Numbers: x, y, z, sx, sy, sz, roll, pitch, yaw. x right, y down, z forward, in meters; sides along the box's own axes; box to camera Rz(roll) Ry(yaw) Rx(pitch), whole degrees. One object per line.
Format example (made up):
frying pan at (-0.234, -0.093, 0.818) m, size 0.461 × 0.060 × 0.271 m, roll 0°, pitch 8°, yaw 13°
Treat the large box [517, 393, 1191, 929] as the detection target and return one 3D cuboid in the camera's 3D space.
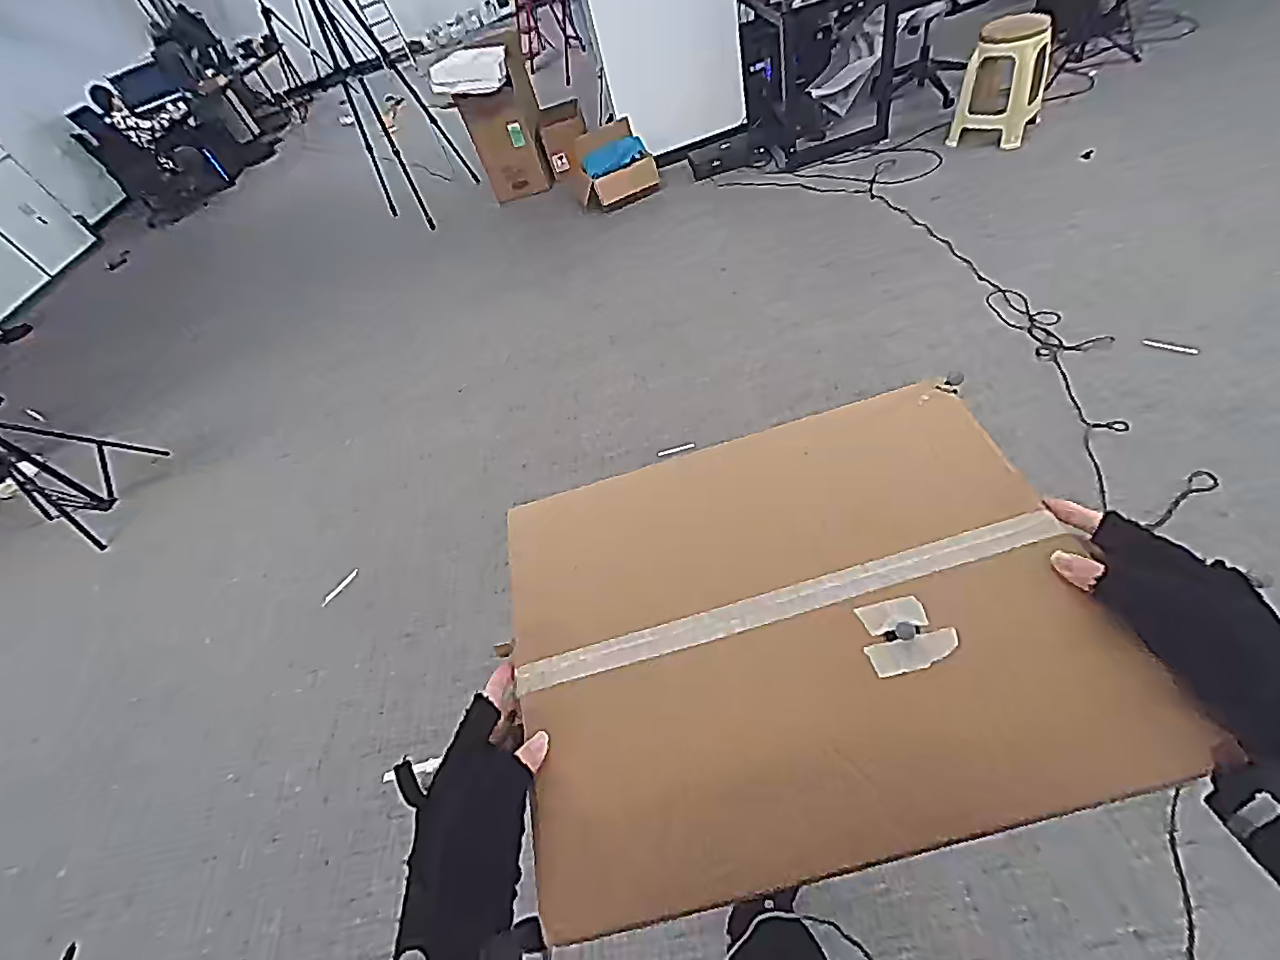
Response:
large box at (0.134, 0.180, 0.530) m, size 0.408 × 0.320 × 0.320 m, roll -17°, pitch 55°, yaw 2°
